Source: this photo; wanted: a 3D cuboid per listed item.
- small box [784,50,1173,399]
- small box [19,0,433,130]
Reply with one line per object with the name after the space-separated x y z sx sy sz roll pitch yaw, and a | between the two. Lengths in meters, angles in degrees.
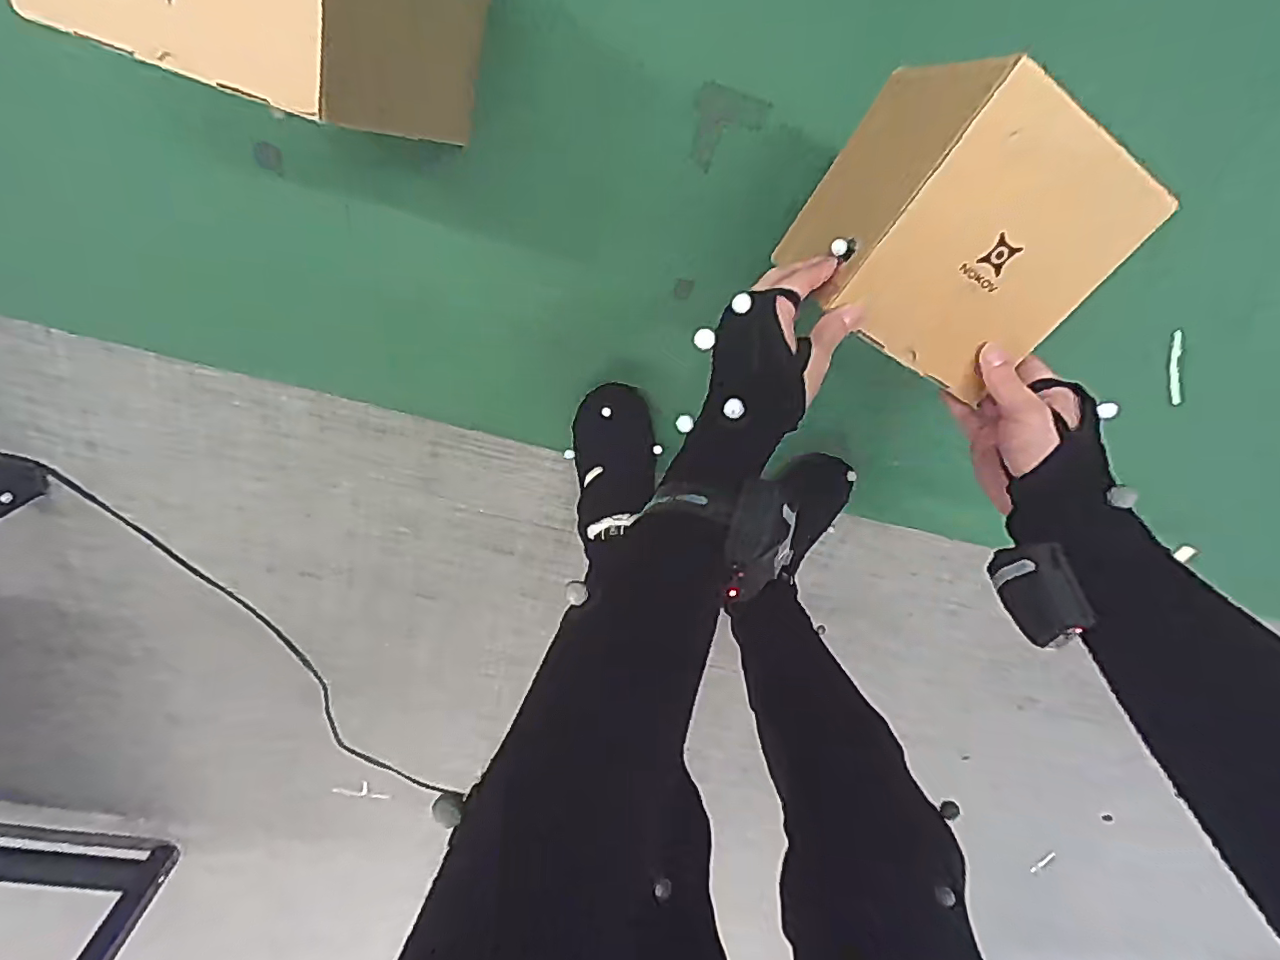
0.245 -0.205 0.443 0.168 0.176 0.179 24 122 -19 | small box
-0.239 -0.349 0.339 0.168 0.176 0.179 16 118 -9 | small box
